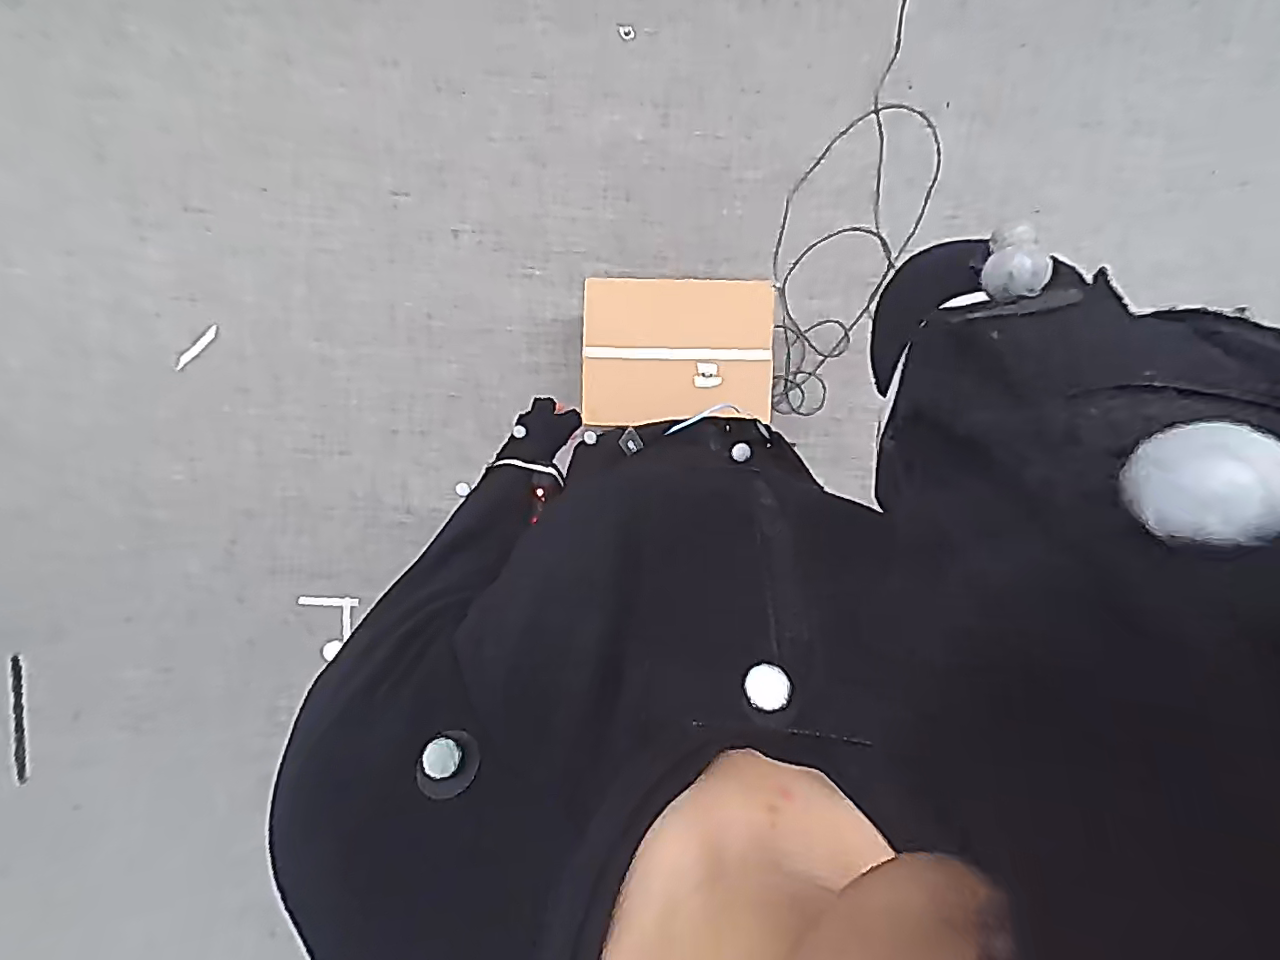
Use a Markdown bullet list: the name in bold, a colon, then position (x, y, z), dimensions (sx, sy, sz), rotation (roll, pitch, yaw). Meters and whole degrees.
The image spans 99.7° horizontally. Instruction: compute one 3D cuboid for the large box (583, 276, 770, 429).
- **large box**: position (0.079, -0.286, 1.311), dimensions (0.408, 0.320, 0.320), rotation (2, 94, 1)
